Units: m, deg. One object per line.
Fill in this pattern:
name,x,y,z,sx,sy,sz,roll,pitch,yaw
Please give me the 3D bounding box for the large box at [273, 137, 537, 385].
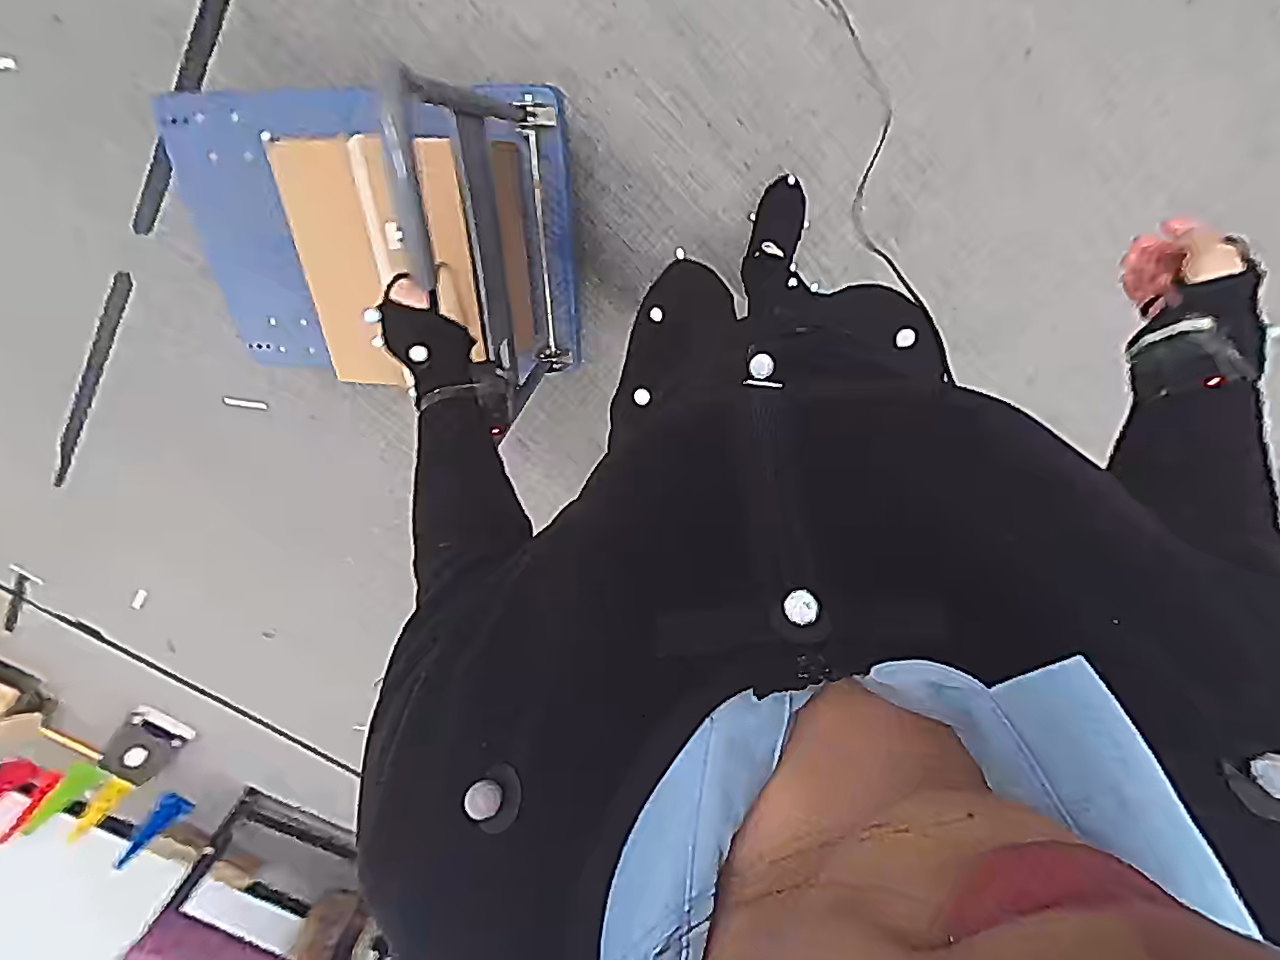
large box,-0.411,-0.432,1.066,0.320,0.320,0.408,3,121,5
